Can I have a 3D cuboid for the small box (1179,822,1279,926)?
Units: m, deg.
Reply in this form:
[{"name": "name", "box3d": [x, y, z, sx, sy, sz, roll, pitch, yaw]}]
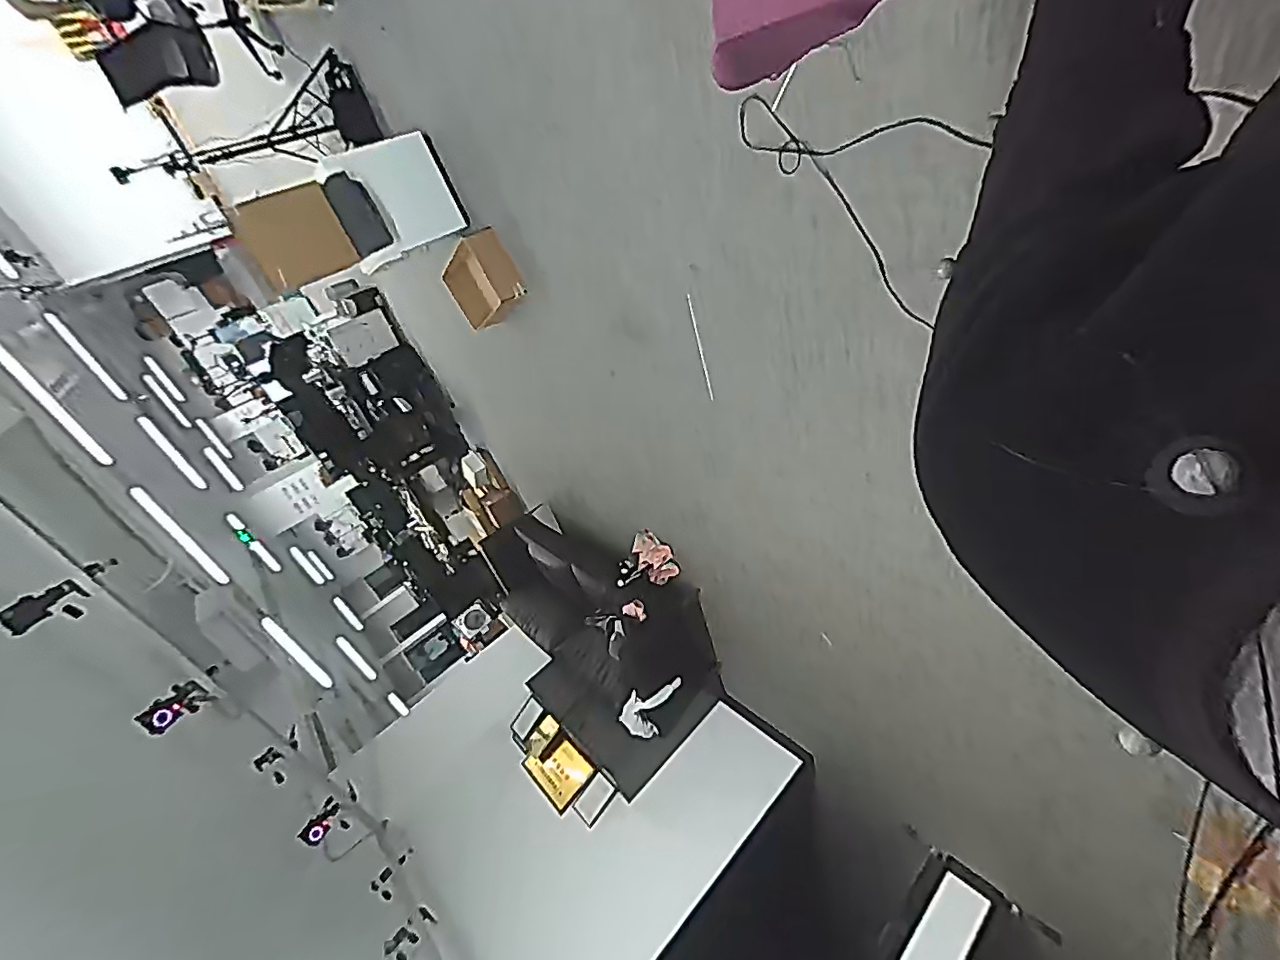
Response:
[{"name": "small box", "box3d": [1.824, 1.203, 1.672, 0.179, 0.176, 0.168, 19, 137, 48]}]
